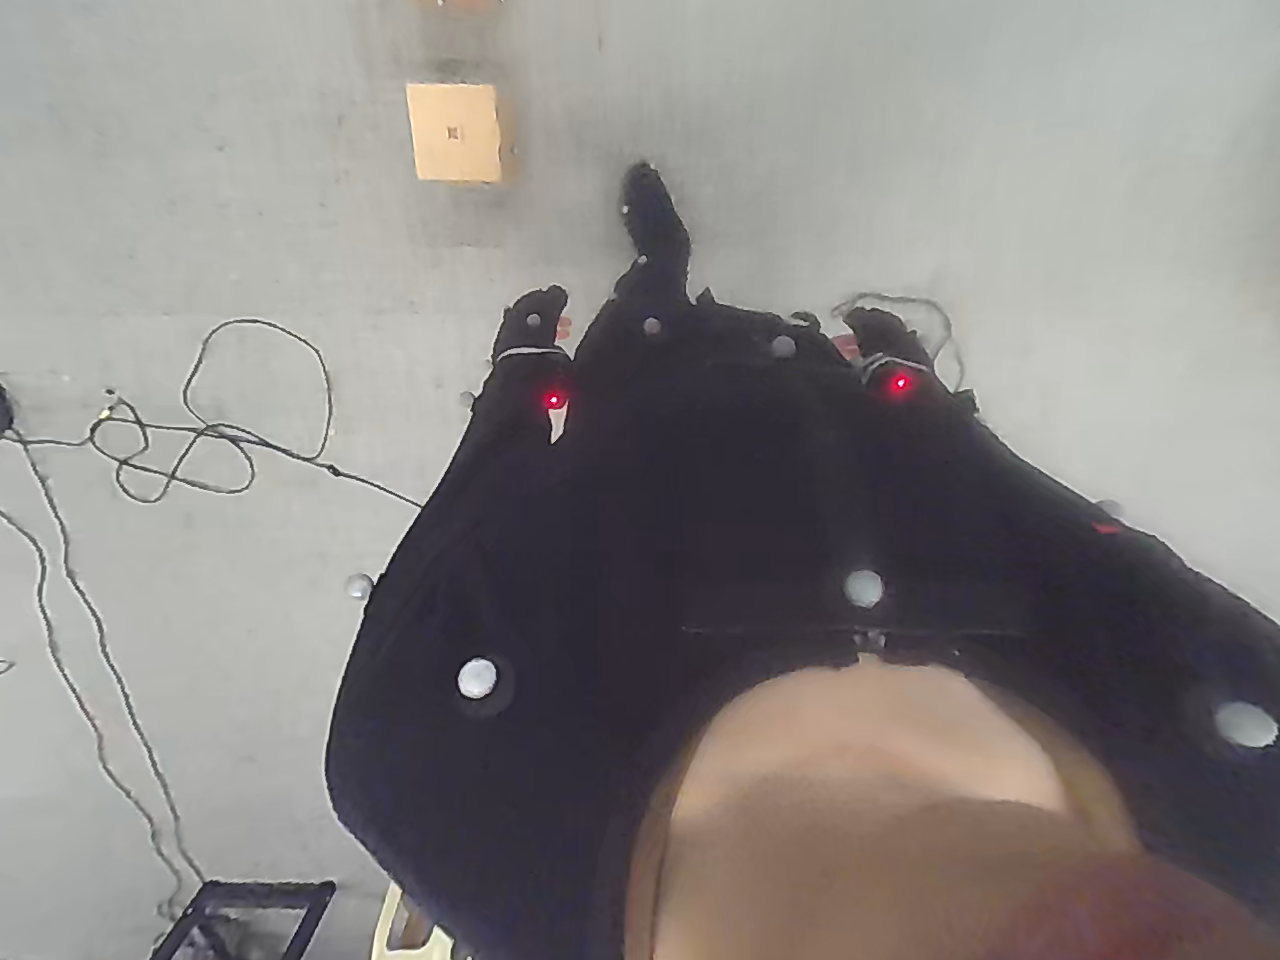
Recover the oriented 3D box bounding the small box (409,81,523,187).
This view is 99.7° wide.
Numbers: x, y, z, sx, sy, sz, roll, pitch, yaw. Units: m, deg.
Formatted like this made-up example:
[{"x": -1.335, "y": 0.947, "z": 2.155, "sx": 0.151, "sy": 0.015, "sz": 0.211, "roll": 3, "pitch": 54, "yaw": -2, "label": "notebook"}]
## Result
[{"x": -0.358, "y": -0.720, "z": 1.142, "sx": 0.179, "sy": 0.176, "sz": 0.168, "roll": 1, "pitch": 113, "yaw": 1, "label": "small box"}]
